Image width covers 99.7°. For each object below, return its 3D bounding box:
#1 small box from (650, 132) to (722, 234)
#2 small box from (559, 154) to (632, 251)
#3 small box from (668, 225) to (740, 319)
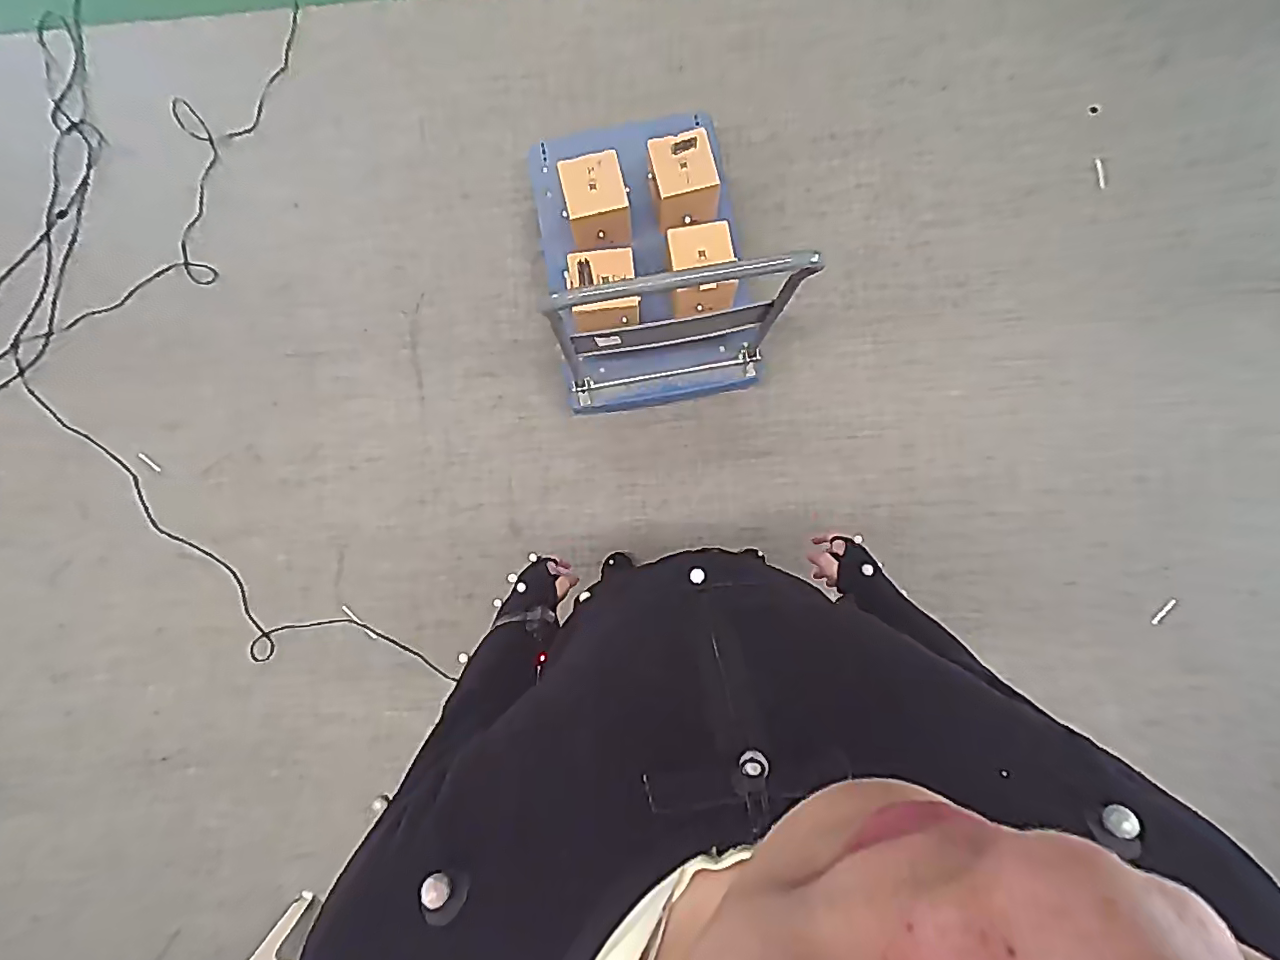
[{"bbox_3d":[0.124,-0.836,1.535,0.168,0.176,0.179,-13,83,1],"label":"small box"},{"bbox_3d":[-0.121,-0.776,1.534,0.168,0.176,0.179,-13,82,-1],"label":"small box"},{"bbox_3d":[0.170,-0.572,1.500,0.168,0.176,0.179,-9,83,0],"label":"small box"}]
